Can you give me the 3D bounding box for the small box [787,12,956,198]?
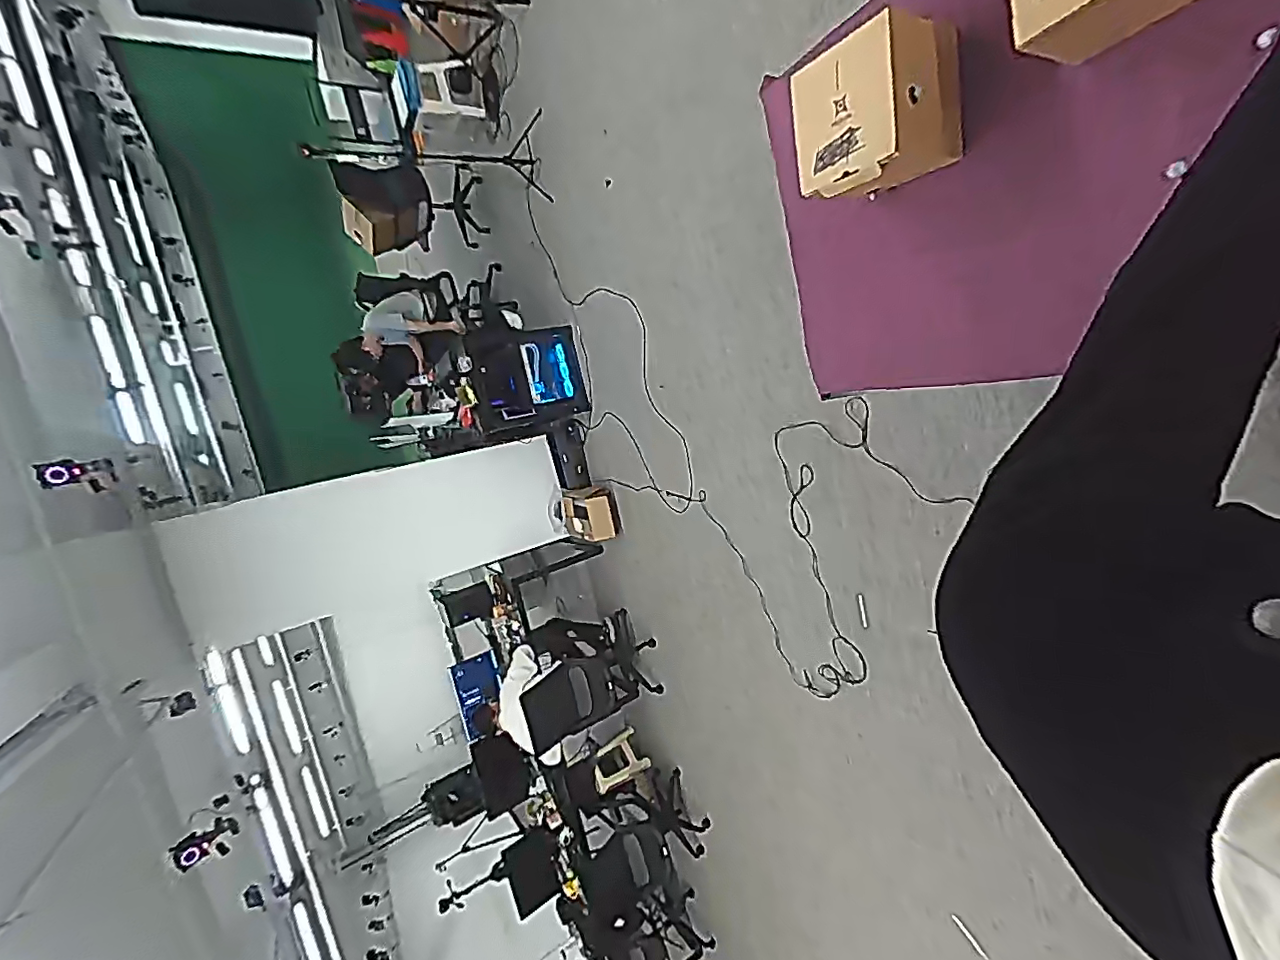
[{"bbox_3d":[0.349,-0.545,0.811,0.168,0.176,0.179,9,112,57],"label":"small box"}]
